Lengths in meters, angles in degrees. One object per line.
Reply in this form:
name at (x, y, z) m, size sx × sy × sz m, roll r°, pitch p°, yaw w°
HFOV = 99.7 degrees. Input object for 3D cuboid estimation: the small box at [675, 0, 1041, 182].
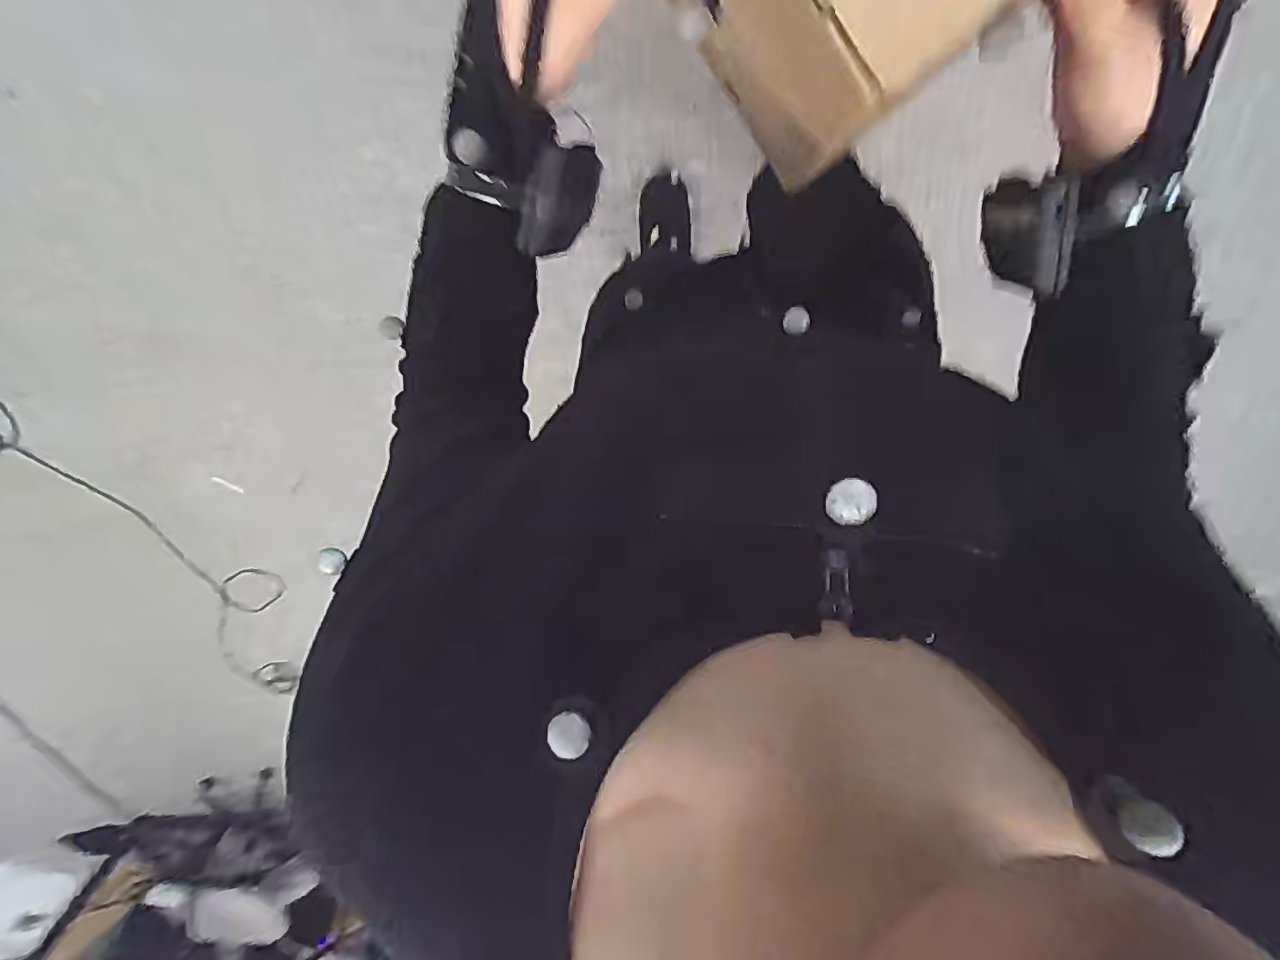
small box at (0.099, -0.251, 0.208) m, size 0.179 × 0.176 × 0.168 m, roll -35°, pitch 102°, yaw 17°
